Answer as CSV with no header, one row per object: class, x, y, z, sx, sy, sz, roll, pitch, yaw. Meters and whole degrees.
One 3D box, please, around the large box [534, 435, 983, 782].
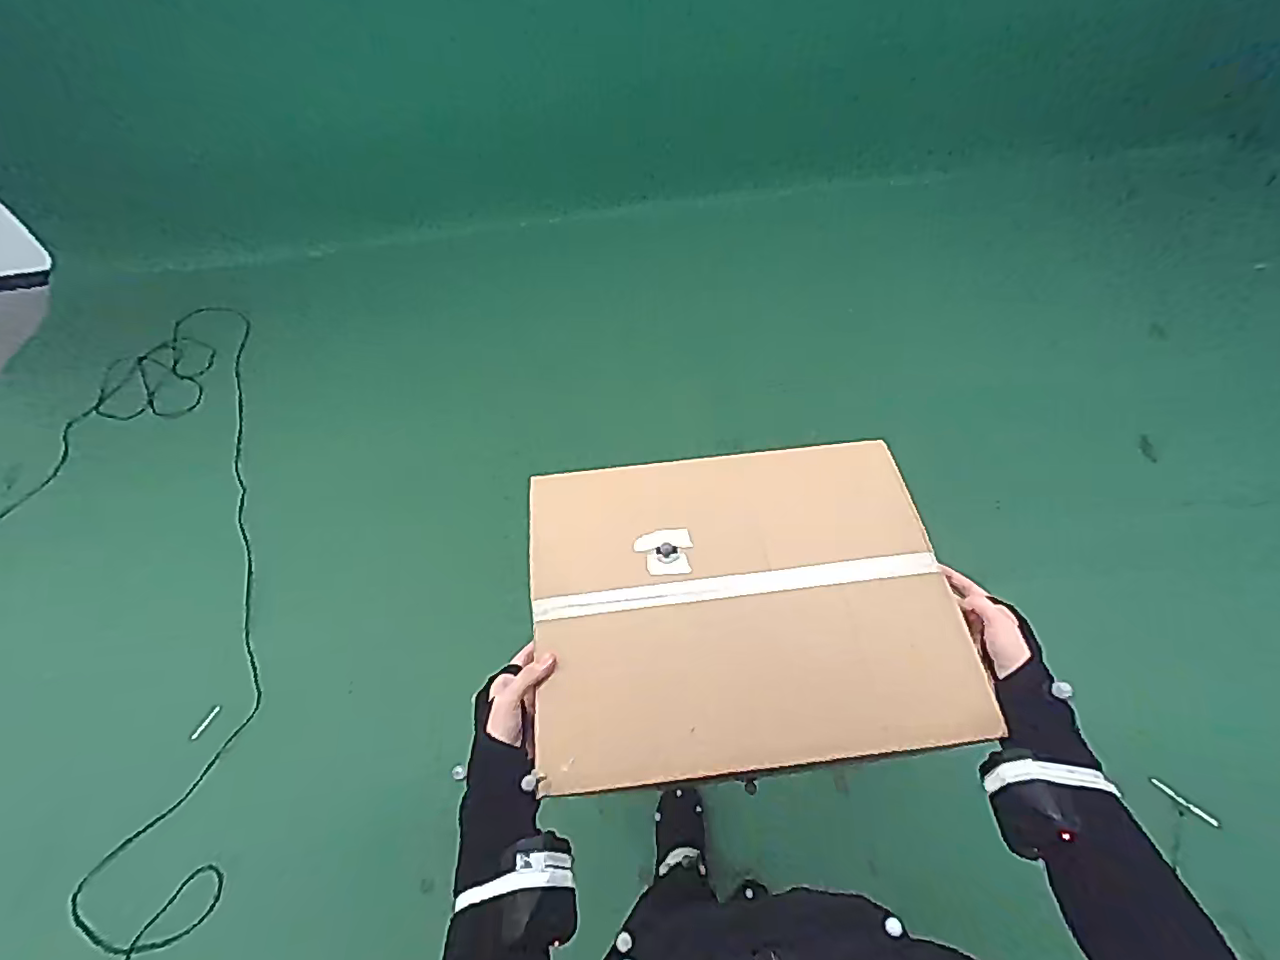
large box,0.102,0.177,0.678,0.408,0.320,0.320,-7,59,-1
